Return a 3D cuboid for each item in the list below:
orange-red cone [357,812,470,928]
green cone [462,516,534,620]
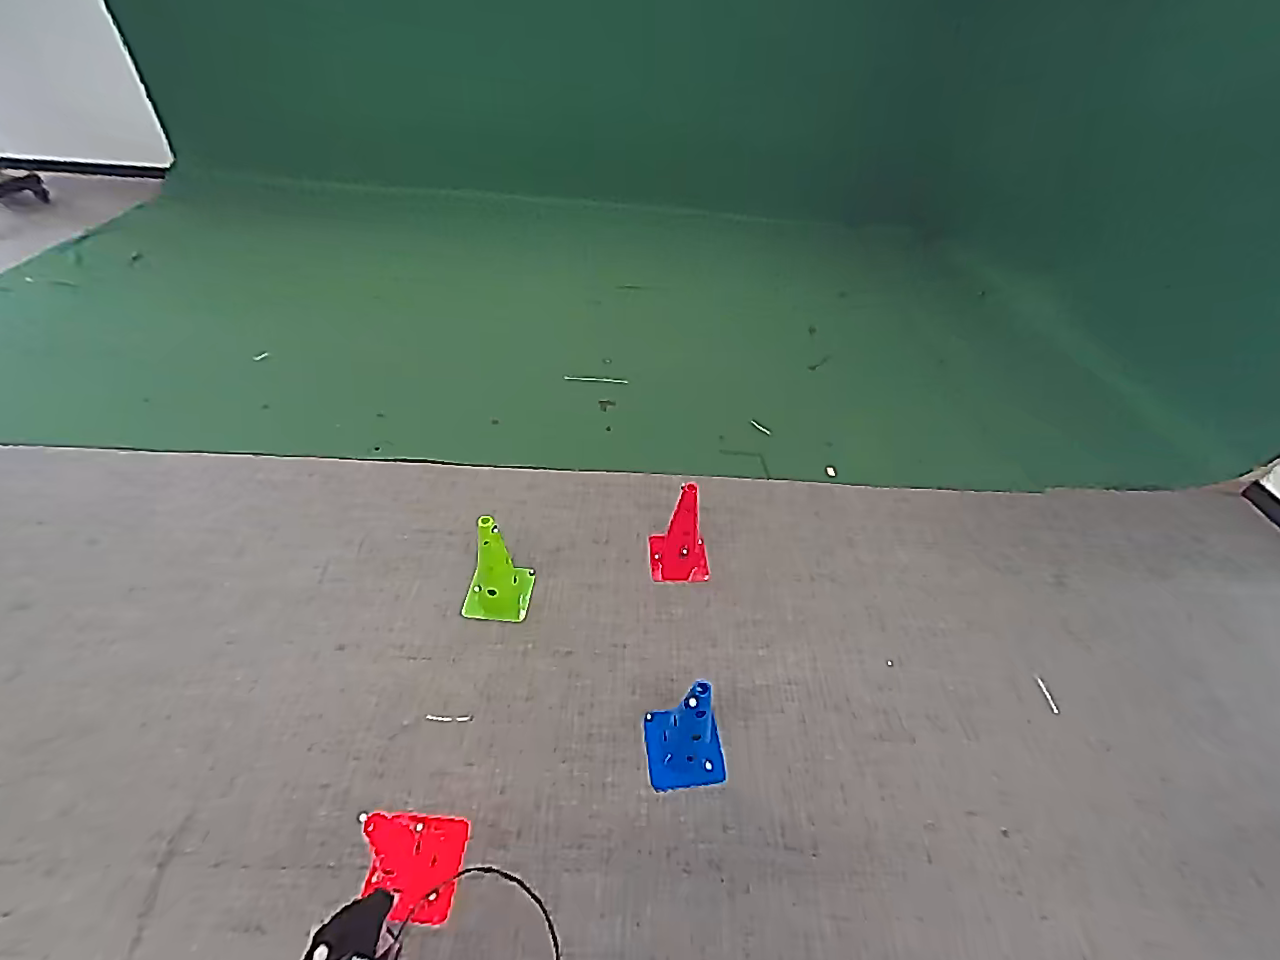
[{"bbox_3d":[-0.488,0.745,1.097,0.198,0.360,0.199,7,42,0],"label":"orange-red cone"},{"bbox_3d":[-0.444,0.237,1.622,0.200,0.368,0.202,4,45,-1],"label":"green cone"}]
